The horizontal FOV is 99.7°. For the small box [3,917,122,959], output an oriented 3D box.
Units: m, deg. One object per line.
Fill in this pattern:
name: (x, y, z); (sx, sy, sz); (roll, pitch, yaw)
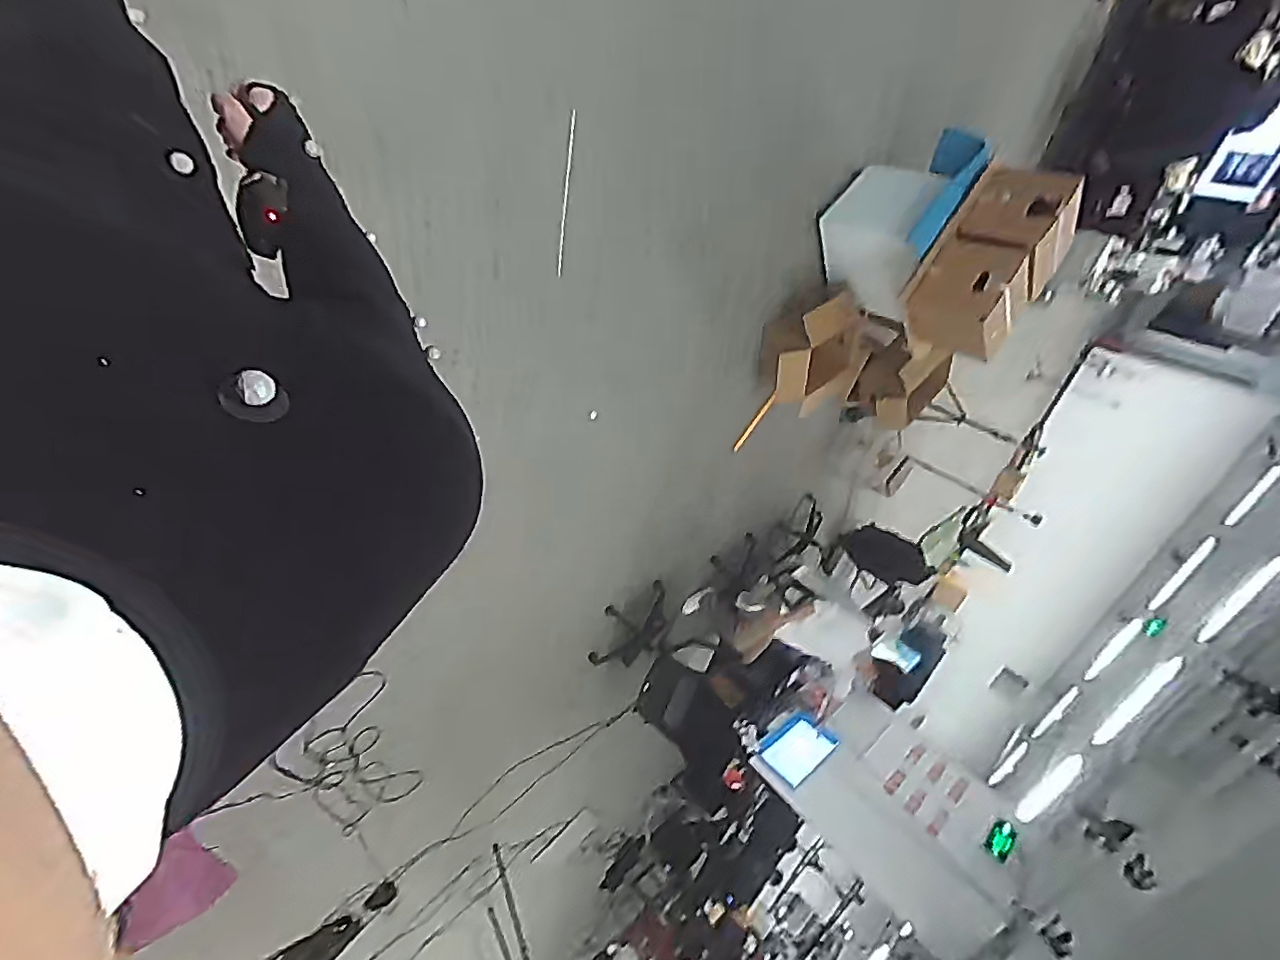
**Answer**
small box: (-1.066, 0.953, 0.981); (0.168, 0.176, 0.179); (-14, 128, -40)
